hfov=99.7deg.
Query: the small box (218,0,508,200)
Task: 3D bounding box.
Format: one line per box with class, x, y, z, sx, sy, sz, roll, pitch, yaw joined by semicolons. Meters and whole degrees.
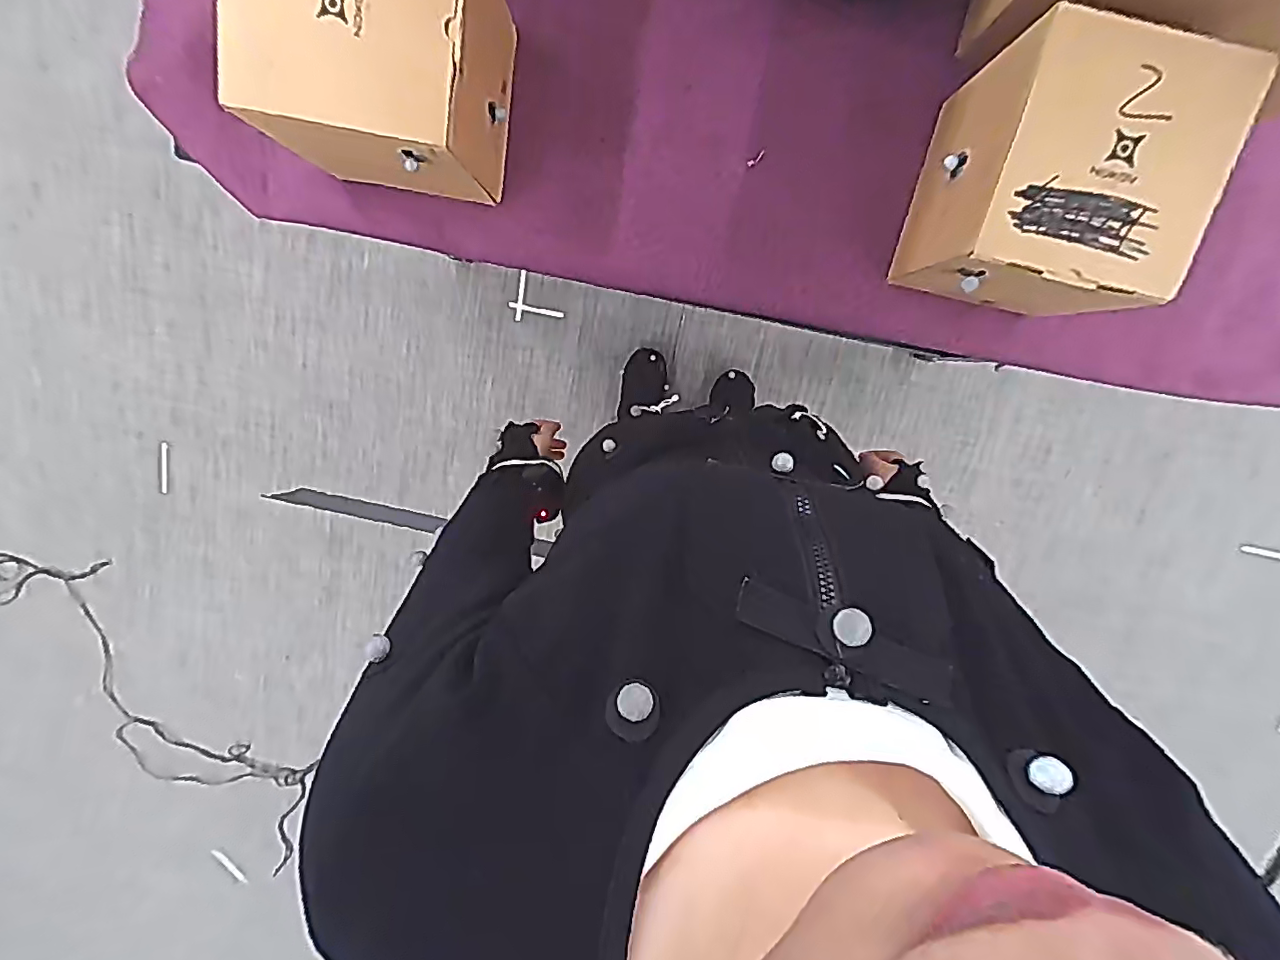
small box;-0.229;-0.370;0.482;0.179;0.176;0.168;8;103;-4
